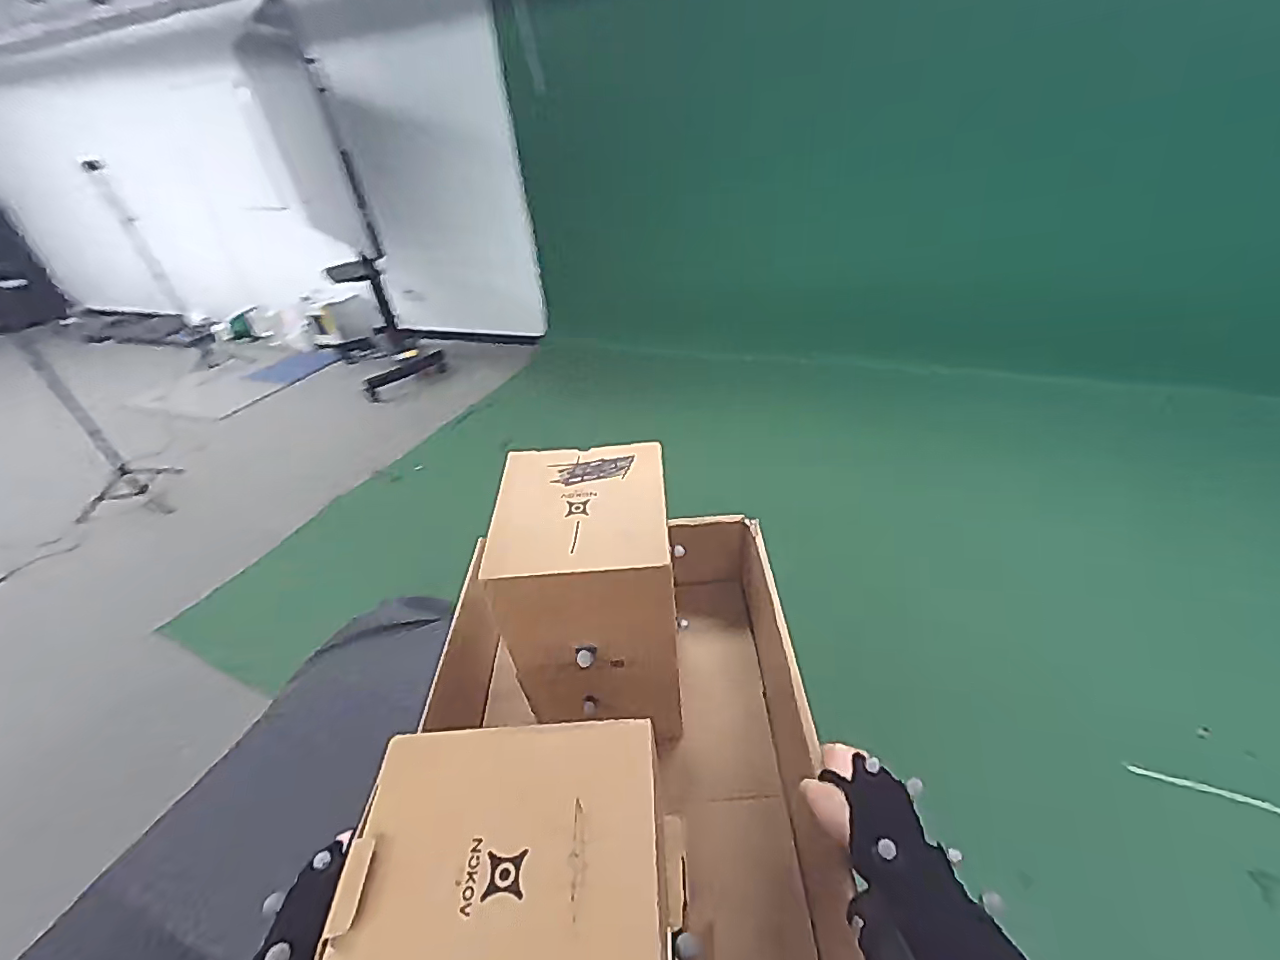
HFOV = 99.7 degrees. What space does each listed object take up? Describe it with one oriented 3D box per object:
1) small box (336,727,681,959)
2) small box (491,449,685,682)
[{"bbox_3d":[-0.064,0.282,0.348,0.179,0.176,0.168,-4,40,2],"label":"small box"},{"bbox_3d":[-0.041,0.088,0.568,0.168,0.176,0.179,-4,41,3],"label":"small box"}]
